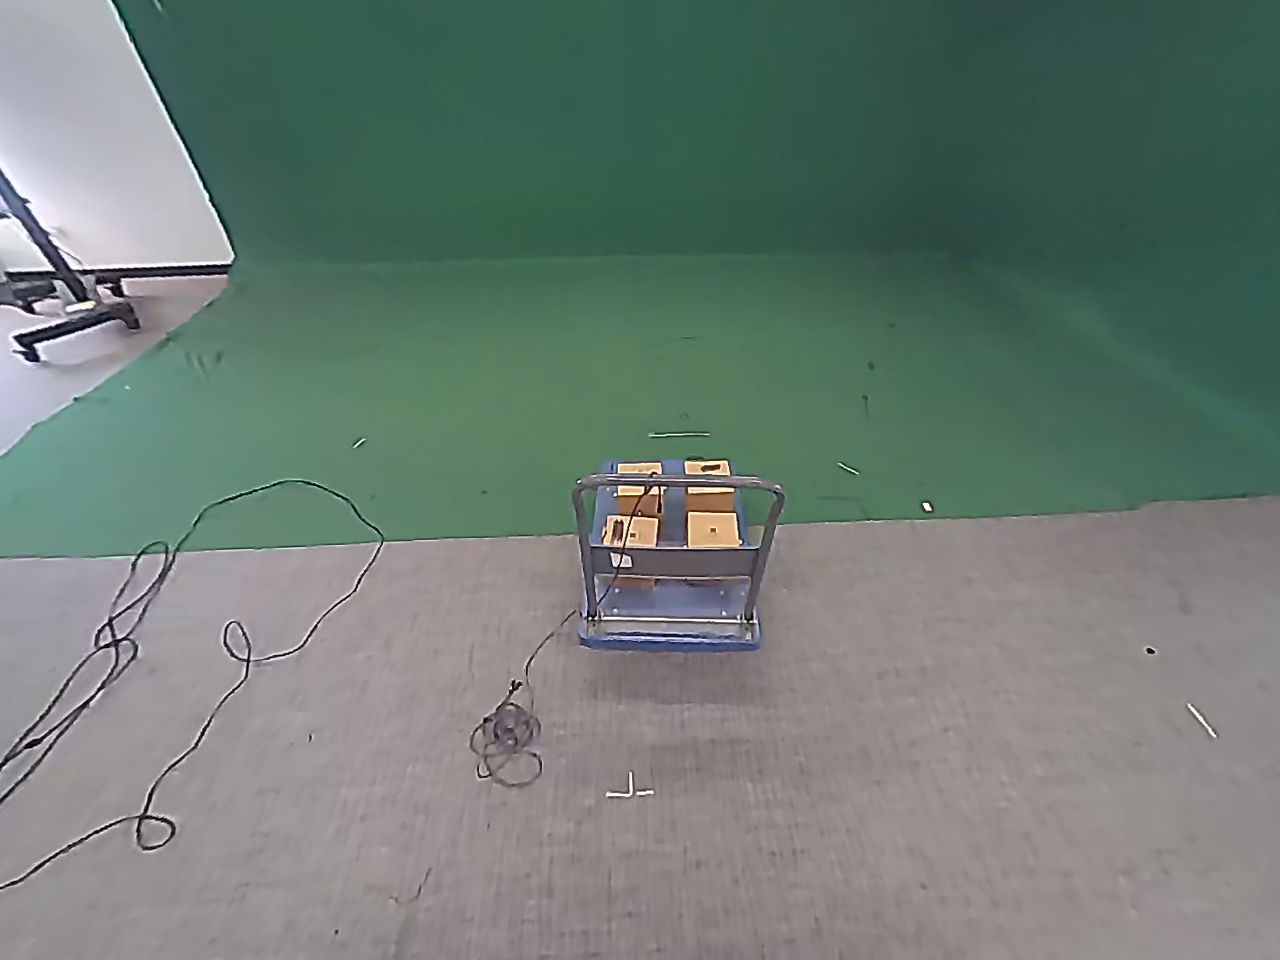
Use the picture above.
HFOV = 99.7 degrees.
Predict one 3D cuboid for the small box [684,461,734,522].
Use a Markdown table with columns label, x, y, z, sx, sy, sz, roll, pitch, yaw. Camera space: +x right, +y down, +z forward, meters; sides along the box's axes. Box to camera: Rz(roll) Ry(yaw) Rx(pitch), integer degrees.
| label | x | y | z | sx | sy | sz | roll | pitch | yaw |
| --- | --- | --- | --- | --- | --- | --- | --- | --- | --- |
| small box | 0.254 | 0.049 | 2.032 | 0.168 | 0.176 | 0.179 | -2 | 43 | 0 |

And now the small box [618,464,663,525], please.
| label | x | y | z | sx | sy | sz | roll | pitch | yaw |
| --- | --- | --- | --- | --- | --- | --- | --- | --- | --- |
| small box | 0.002 | 0.058 | 2.030 | 0.168 | 0.176 | 0.179 | -1 | 42 | -1 |

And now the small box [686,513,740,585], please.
| label | x | y | z | sx | sy | sz | roll | pitch | yaw |
| --- | --- | --- | --- | --- | --- | --- | --- | --- | --- |
| small box | 0.244 | 0.232 | 1.833 | 0.168 | 0.176 | 0.179 | 1 | 43 | 3 |
